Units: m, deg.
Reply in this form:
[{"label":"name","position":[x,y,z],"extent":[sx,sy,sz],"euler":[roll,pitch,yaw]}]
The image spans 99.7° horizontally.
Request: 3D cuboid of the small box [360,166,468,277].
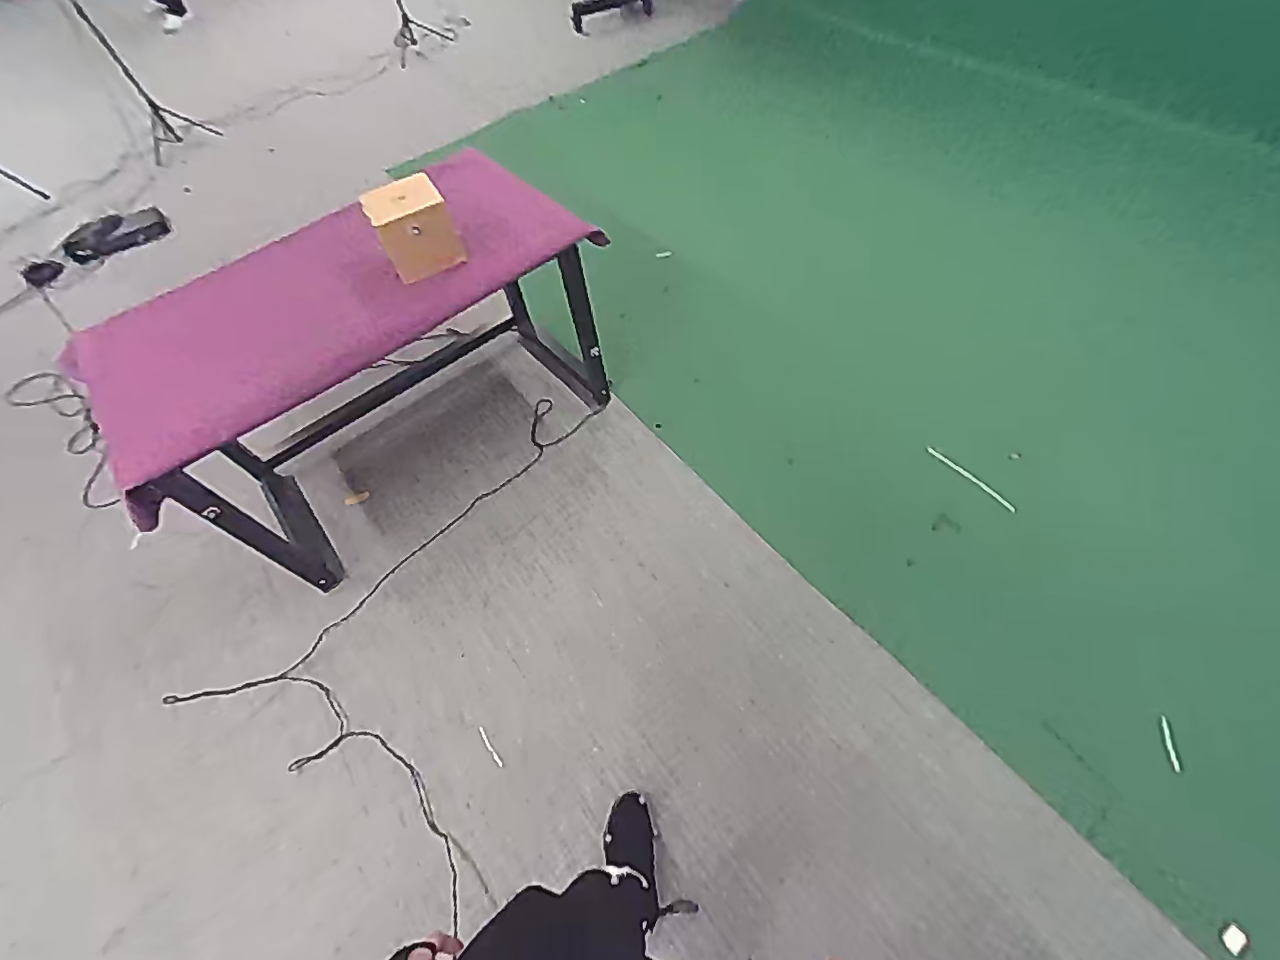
[{"label":"small box","position":[-0.562,-0.644,1.359],"extent":[0.179,0.176,0.168],"euler":[-27,59,-11]}]
